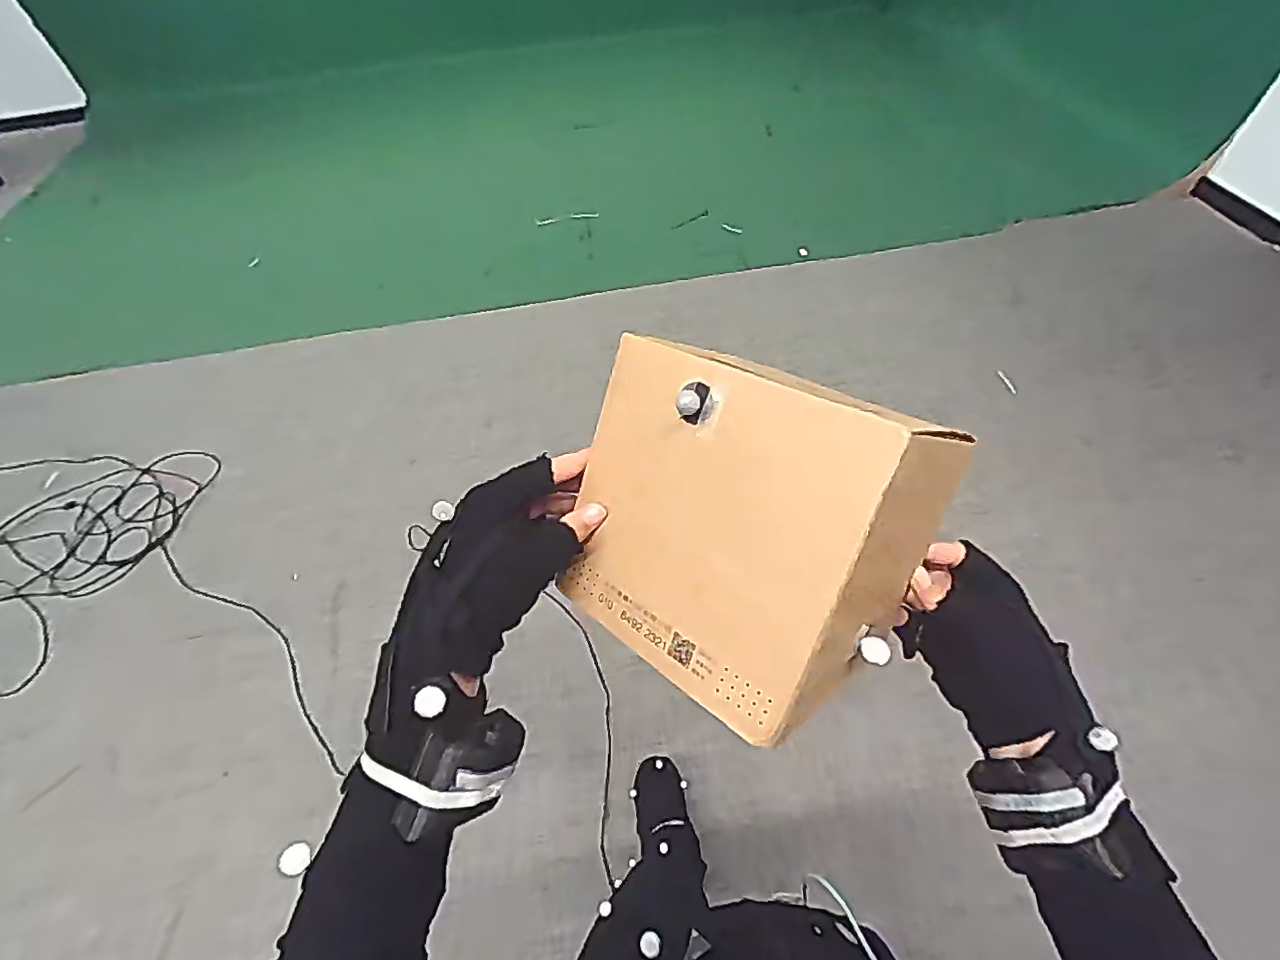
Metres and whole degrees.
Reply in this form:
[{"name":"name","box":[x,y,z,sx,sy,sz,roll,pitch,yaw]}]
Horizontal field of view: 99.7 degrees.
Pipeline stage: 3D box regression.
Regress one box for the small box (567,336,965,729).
[{"name":"small box","box":[0.078,0.022,0.357,0.168,0.176,0.179,28,19,36]}]
